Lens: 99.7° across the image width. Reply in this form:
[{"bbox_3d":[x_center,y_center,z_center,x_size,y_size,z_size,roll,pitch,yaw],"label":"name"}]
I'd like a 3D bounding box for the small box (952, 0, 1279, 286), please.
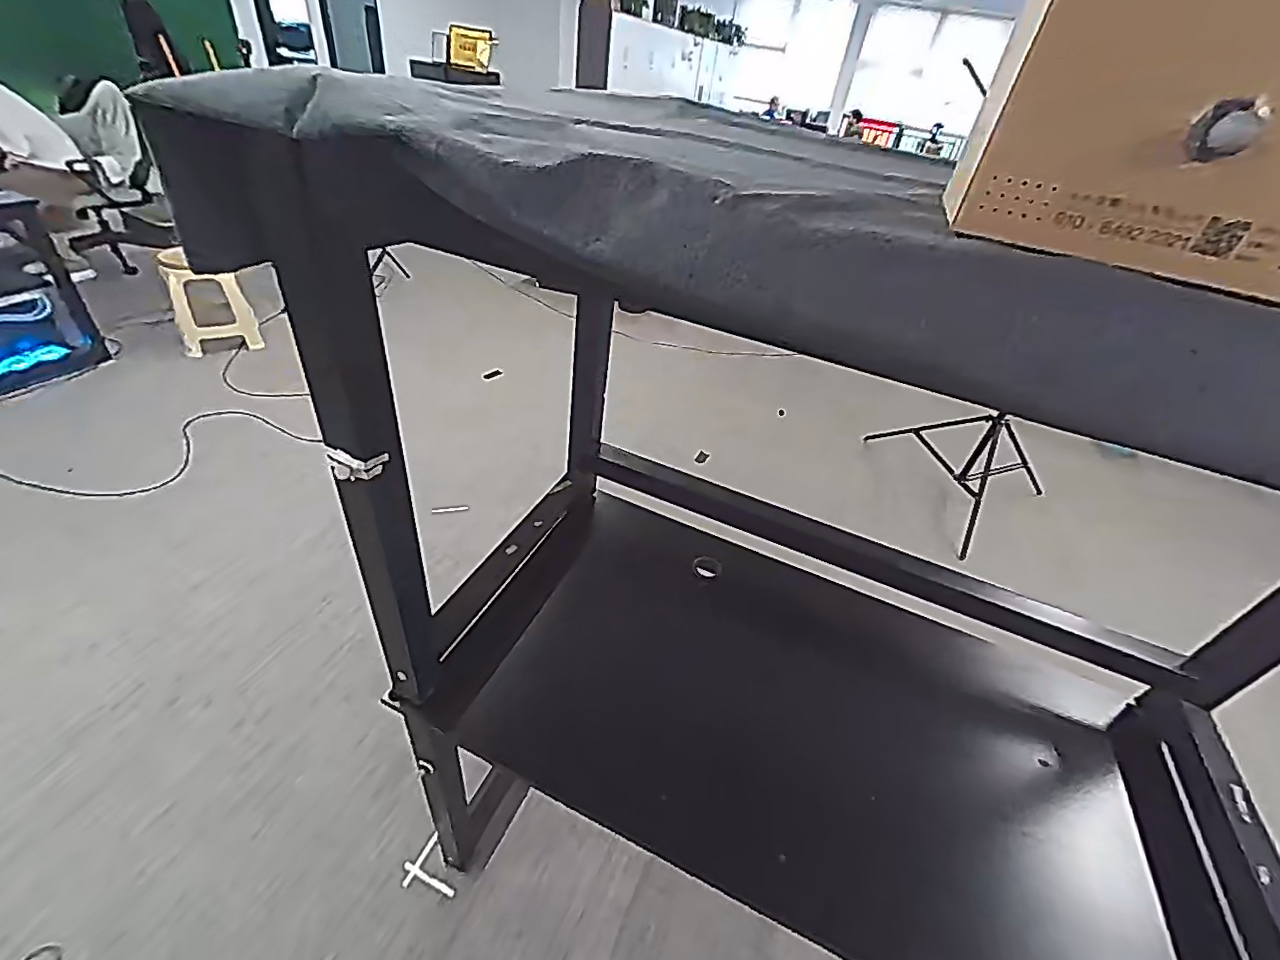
[{"bbox_3d":[0.277,-0.212,0.266,0.168,0.176,0.179,21,37,15],"label":"small box"}]
